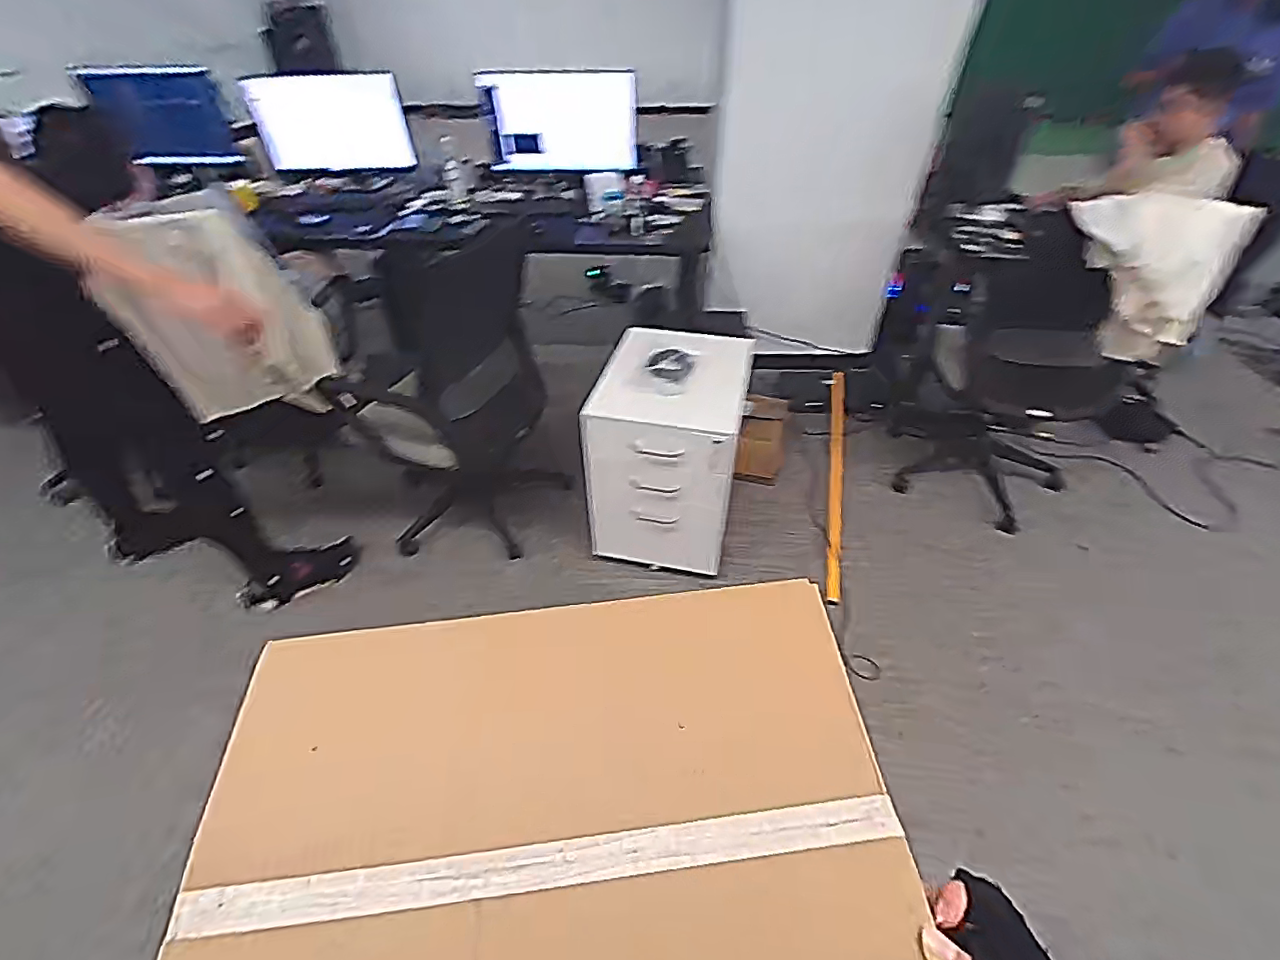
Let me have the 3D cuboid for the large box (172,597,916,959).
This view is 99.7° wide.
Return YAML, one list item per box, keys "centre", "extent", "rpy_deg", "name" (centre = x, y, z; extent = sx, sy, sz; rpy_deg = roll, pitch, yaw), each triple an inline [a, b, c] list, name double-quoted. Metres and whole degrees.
- centre: [-0.052, 0.324, 0.425]
  extent: [0.408, 0.320, 0.320]
  rpy_deg: [-7, 50, -3]
  name: "large box"
